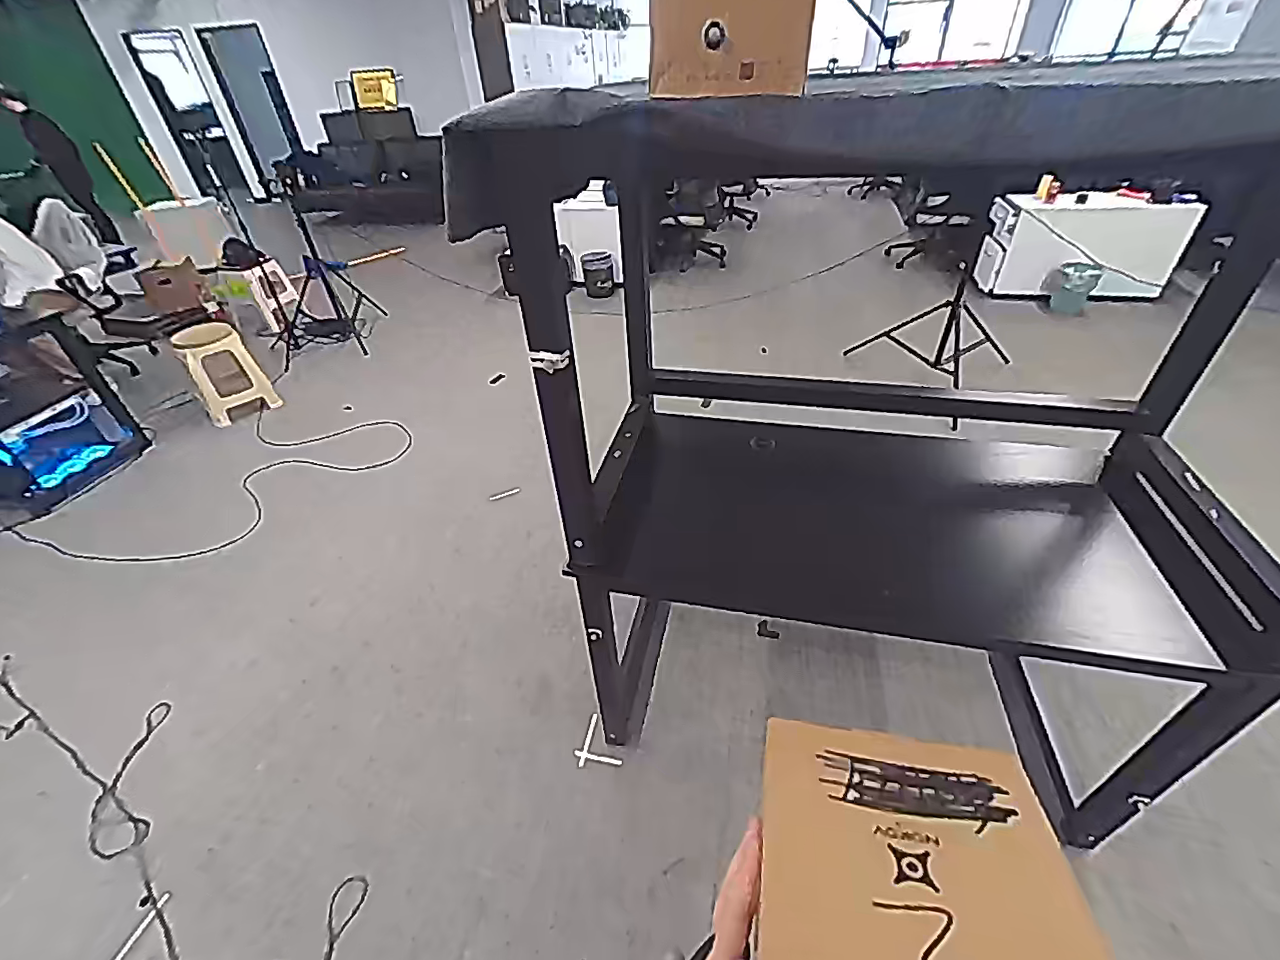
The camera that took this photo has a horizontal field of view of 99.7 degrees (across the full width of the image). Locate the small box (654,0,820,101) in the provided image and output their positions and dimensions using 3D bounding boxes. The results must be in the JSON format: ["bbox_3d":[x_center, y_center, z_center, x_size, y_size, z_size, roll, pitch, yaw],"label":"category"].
[{"bbox_3d":[0.109,-0.521,0.589,0.168,0.176,0.179,6,38,10],"label":"small box"}]
